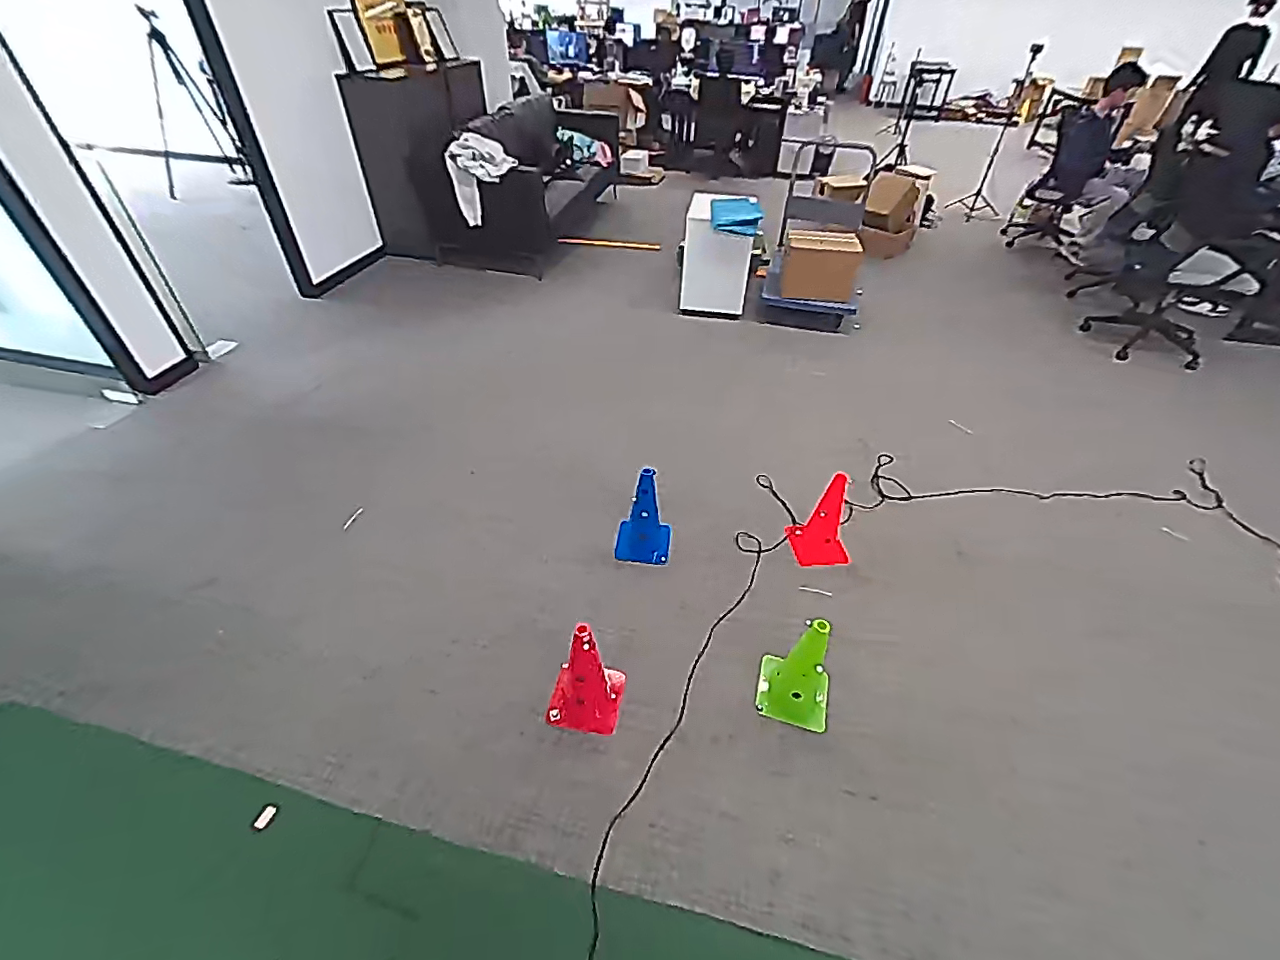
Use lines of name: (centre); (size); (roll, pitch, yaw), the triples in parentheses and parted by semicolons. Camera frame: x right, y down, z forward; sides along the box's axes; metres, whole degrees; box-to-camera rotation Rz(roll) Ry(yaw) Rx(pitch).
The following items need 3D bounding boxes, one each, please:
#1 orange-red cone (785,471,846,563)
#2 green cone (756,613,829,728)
orange-red cone: (0.669, 0.111, 1.943); (0.198, 0.360, 0.199); (-3, 44, -4)
green cone: (0.462, 0.495, 1.501); (0.200, 0.368, 0.202); (12, 42, 11)
